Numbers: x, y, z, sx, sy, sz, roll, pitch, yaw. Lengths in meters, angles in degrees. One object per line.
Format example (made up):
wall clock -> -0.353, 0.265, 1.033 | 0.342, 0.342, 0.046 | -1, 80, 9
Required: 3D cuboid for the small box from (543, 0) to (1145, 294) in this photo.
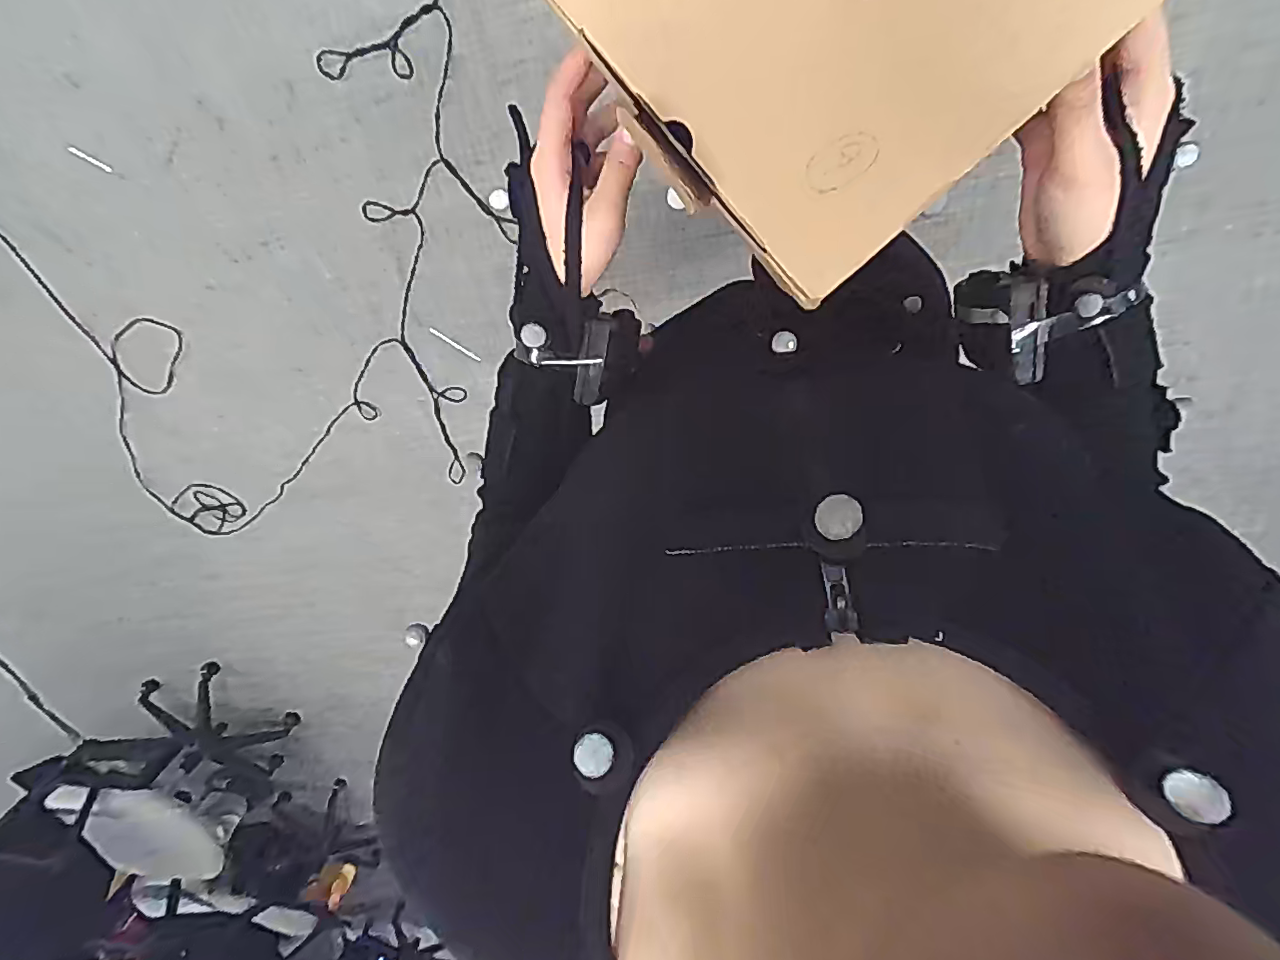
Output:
small box -> 0.090, -0.214, 0.255 | 0.168, 0.176, 0.179 | 45, 114, -8
